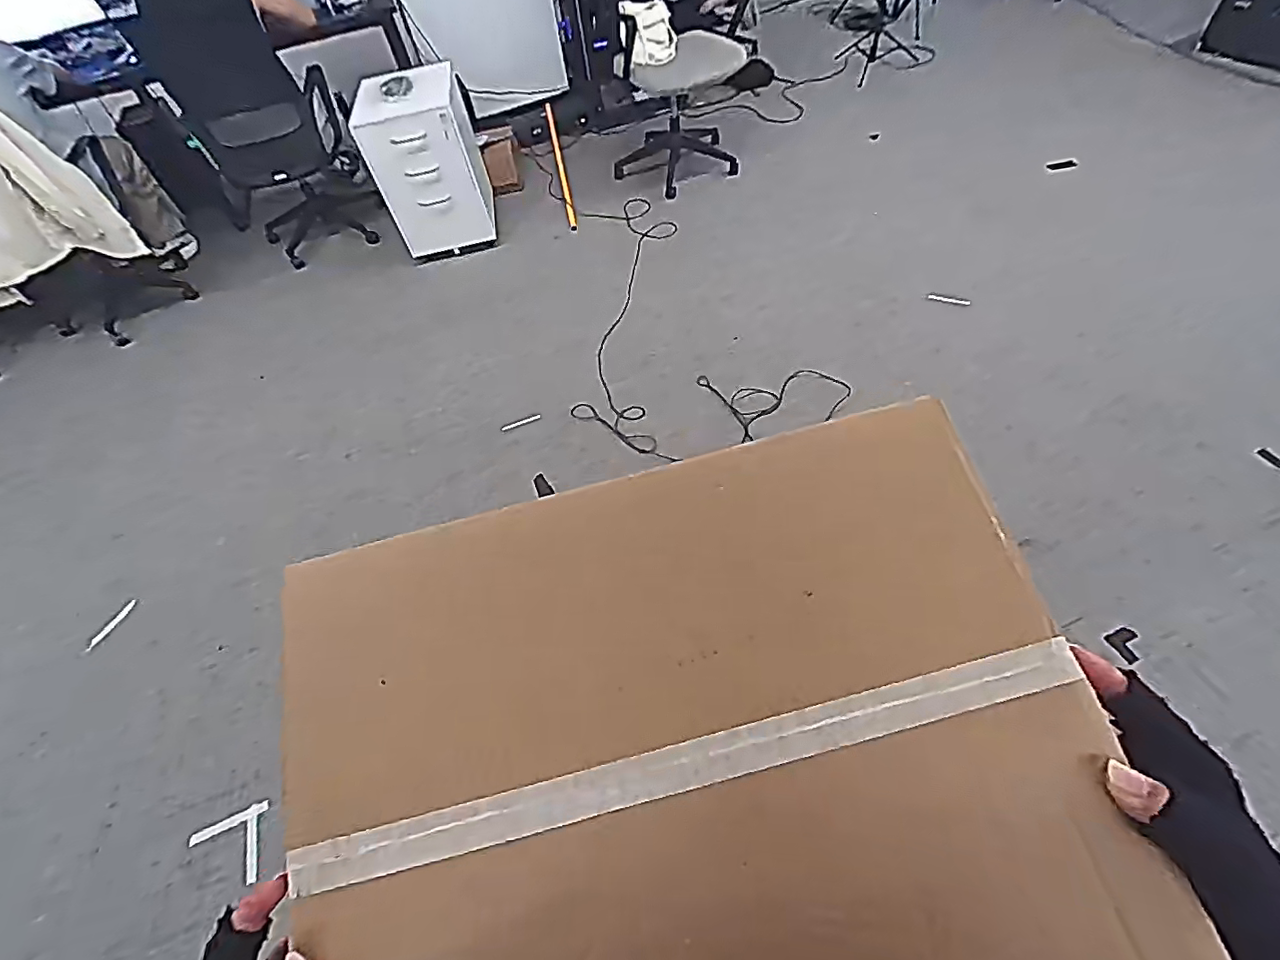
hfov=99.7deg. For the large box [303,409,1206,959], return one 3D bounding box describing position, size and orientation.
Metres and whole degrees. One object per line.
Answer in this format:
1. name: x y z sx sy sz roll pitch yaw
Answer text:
1. large box: 0.038 0.194 0.420 0.408 0.320 0.320 -16 69 0
